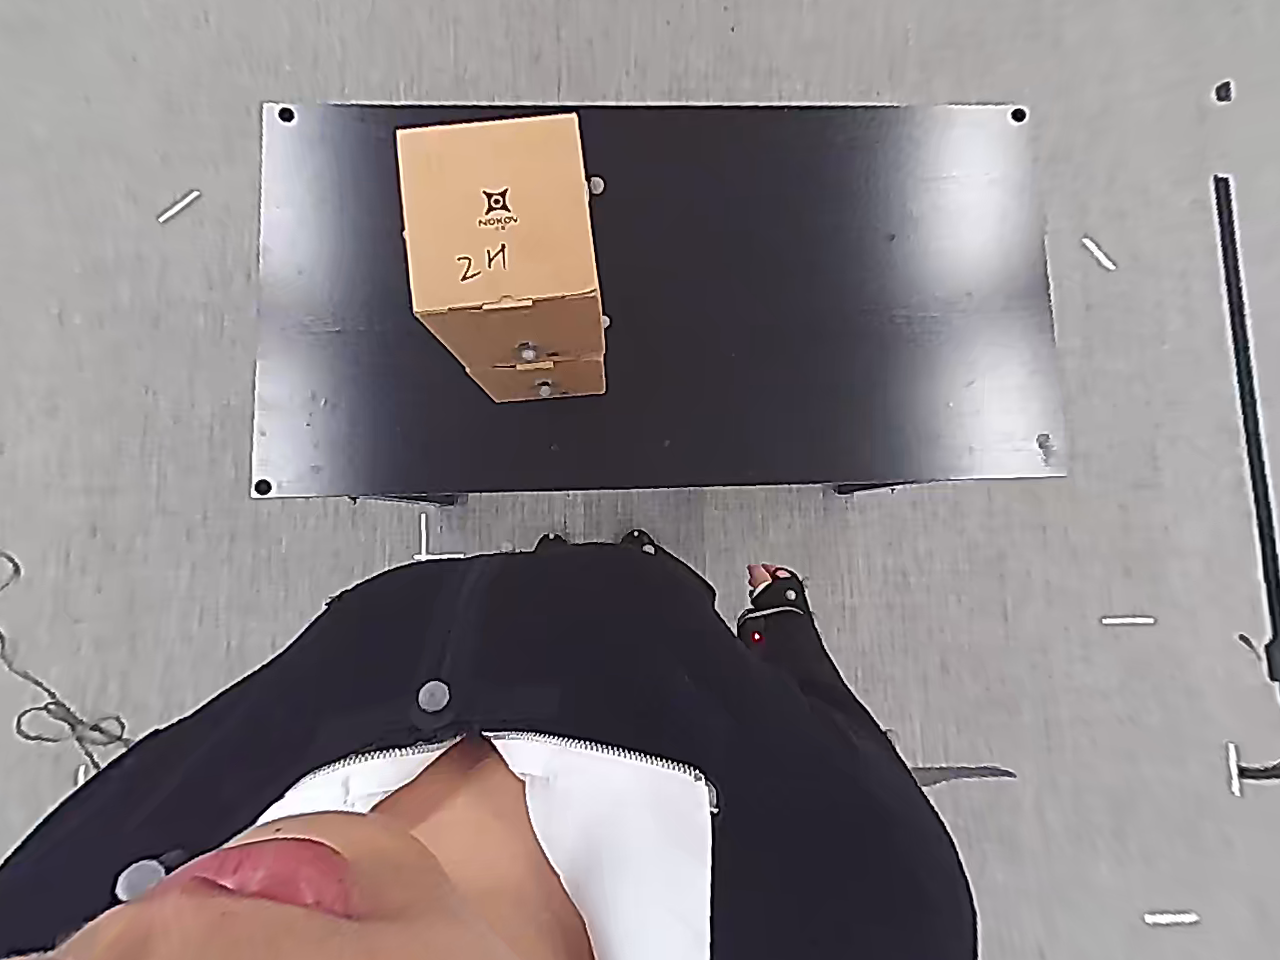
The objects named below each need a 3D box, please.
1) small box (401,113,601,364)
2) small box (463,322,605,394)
[{"bbox_3d":[-0.132,-0.239,0.568,0.168,0.176,0.179,-7,85,-2],"label":"small box"},{"bbox_3d":[-0.138,-0.219,0.733,0.168,0.176,0.179,-5,85,-2],"label":"small box"}]
